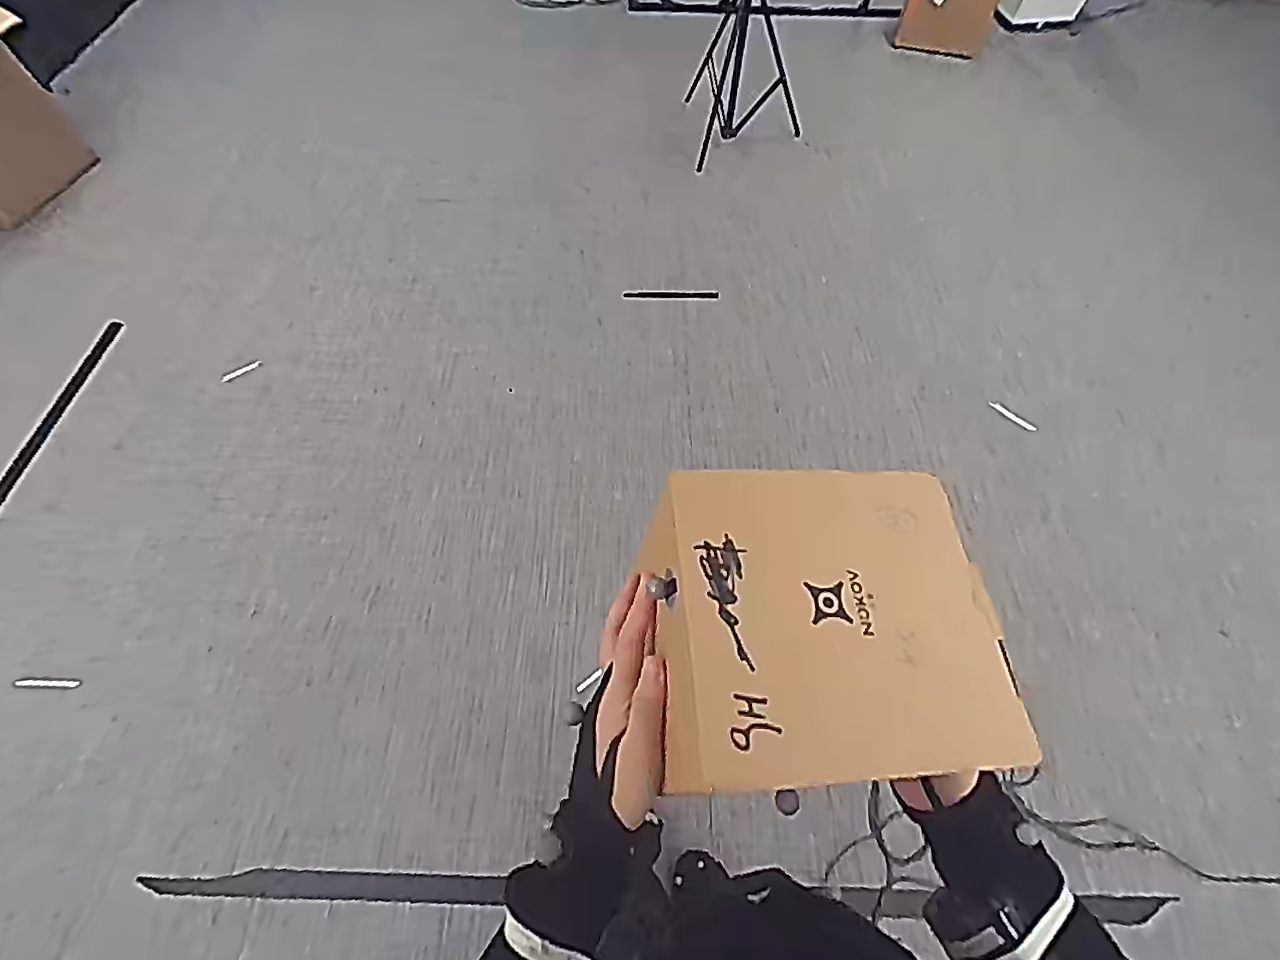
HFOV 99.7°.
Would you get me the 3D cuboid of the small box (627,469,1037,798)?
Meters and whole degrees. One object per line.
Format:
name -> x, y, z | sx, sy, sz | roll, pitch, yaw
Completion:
small box -> 0.094, 0.107, 0.357 | 0.179, 0.176, 0.168 | 1, 60, -11
